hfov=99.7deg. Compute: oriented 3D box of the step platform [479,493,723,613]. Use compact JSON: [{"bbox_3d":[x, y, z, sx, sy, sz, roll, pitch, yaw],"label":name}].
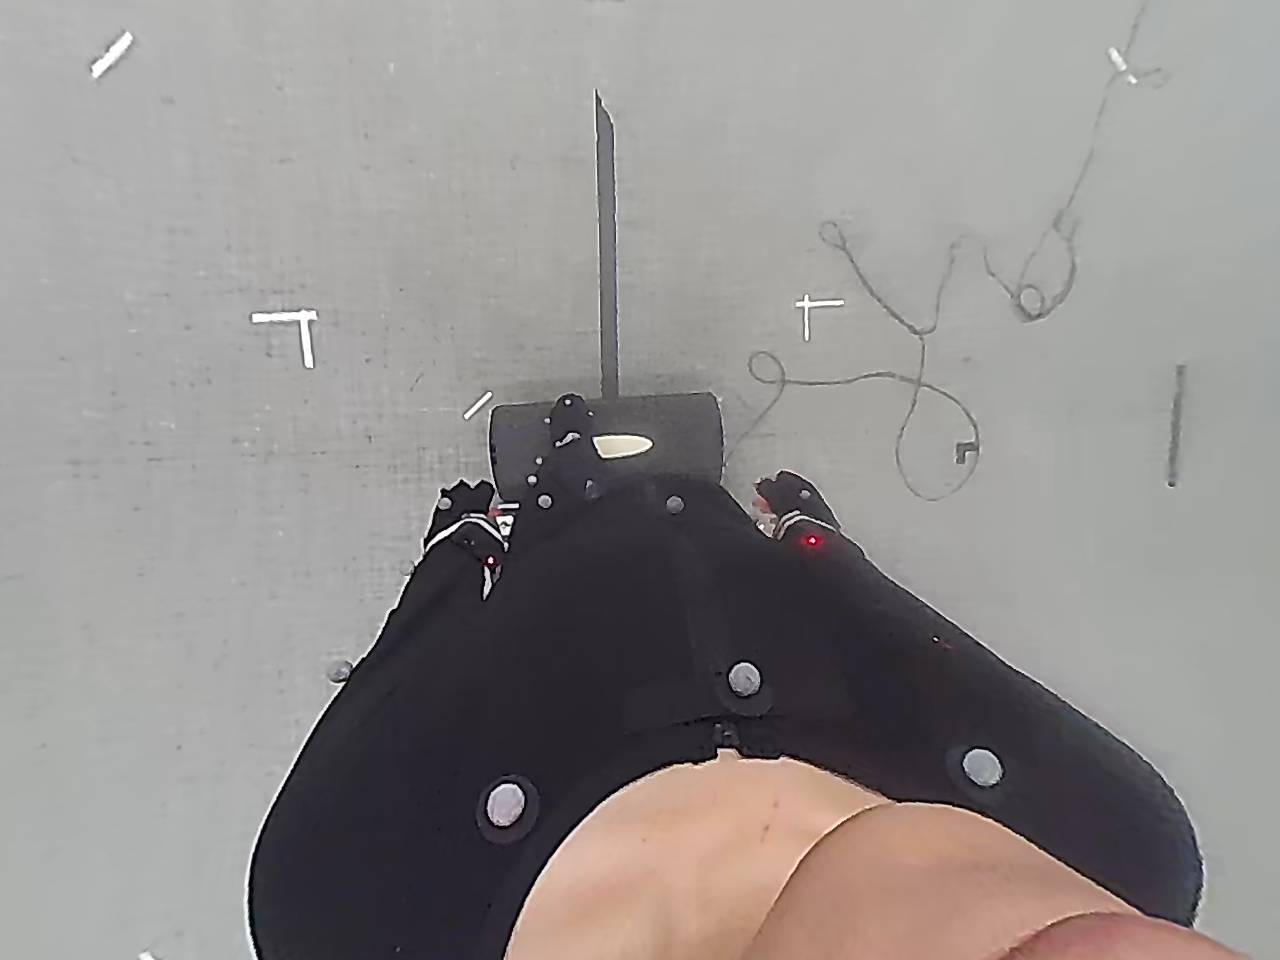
[{"bbox_3d":[-0.105,0.203,1.551,0.684,0.204,0.286,-4,94,-3],"label":"step platform"}]
